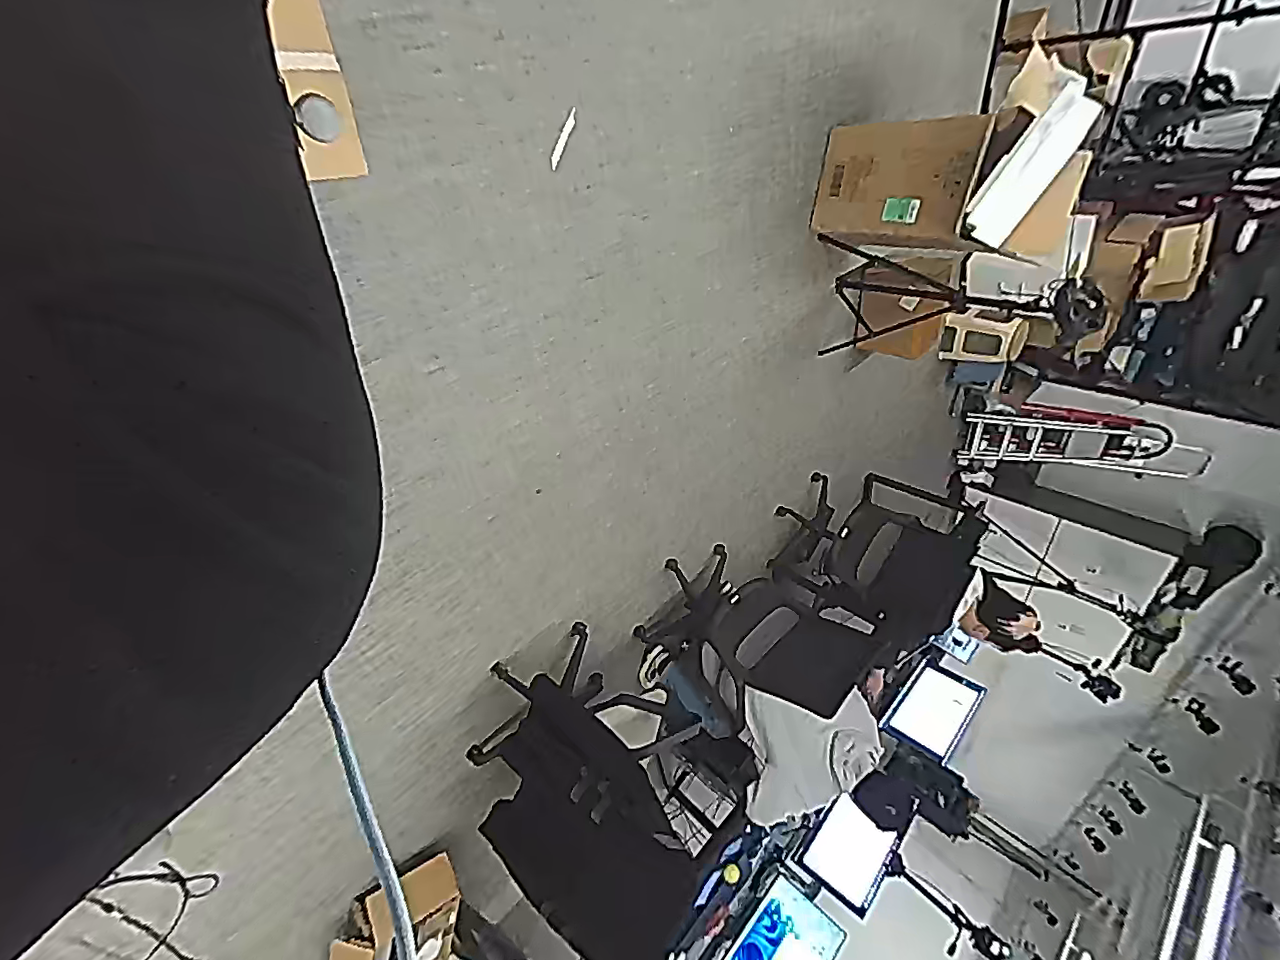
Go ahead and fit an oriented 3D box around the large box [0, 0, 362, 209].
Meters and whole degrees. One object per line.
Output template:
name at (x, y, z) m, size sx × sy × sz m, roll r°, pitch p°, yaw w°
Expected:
large box at (-0.731, -0.614, 0.828) m, size 0.408 × 0.320 × 0.320 m, roll -31°, pitch 131°, yaw -35°
